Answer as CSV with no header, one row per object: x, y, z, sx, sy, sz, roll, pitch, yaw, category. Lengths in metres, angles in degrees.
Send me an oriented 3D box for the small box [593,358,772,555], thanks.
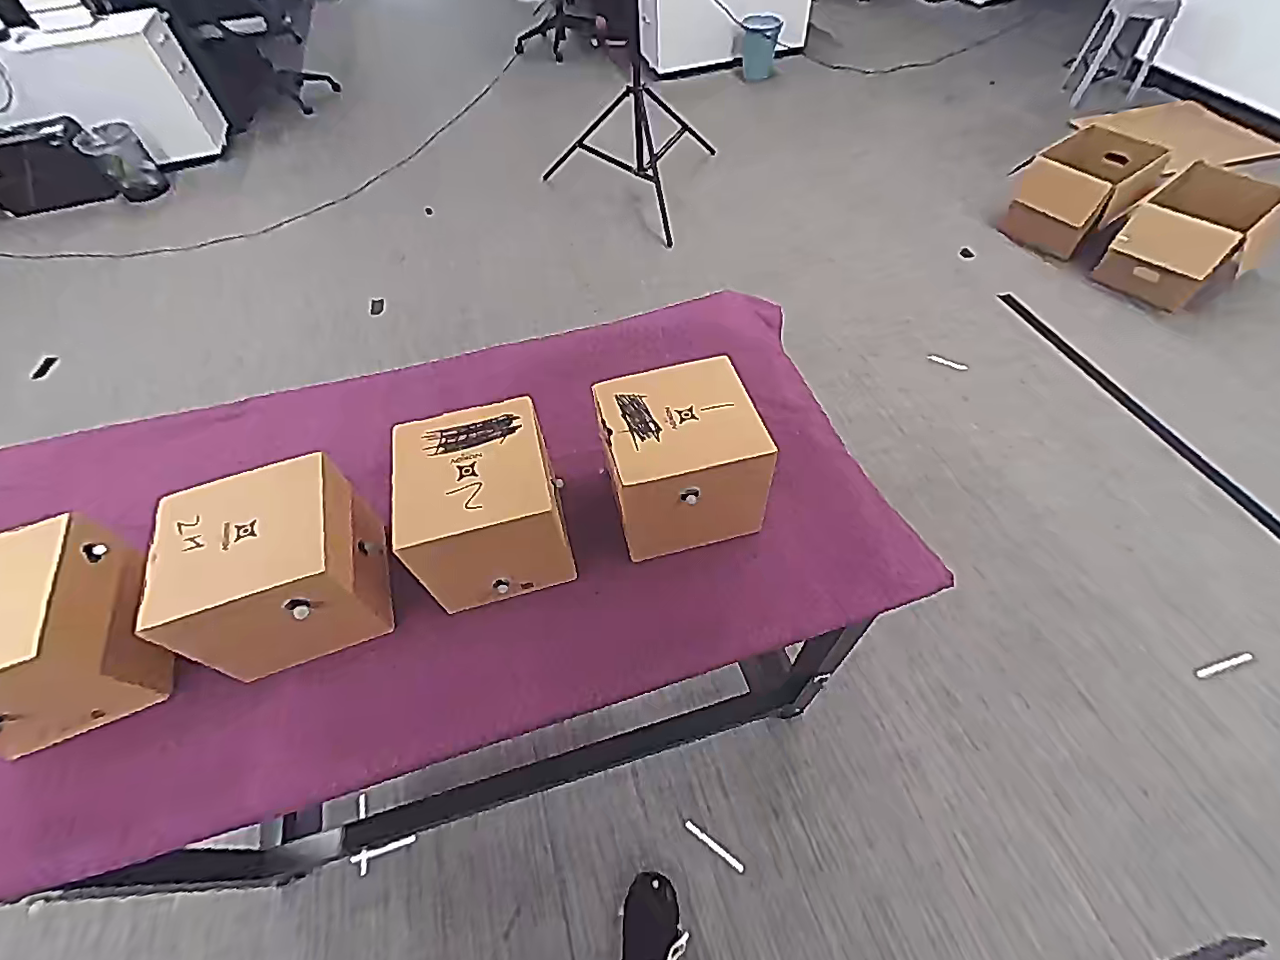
0.049,-0.024,0.687,0.179,0.176,0.168,-13,53,-6,small box

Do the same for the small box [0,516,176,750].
-0.655,0.176,0.597,0.168,0.176,0.179,-21,55,-11,small box

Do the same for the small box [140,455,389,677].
-0.411,0.104,0.629,0.179,0.176,0.168,-19,55,-9,small box
